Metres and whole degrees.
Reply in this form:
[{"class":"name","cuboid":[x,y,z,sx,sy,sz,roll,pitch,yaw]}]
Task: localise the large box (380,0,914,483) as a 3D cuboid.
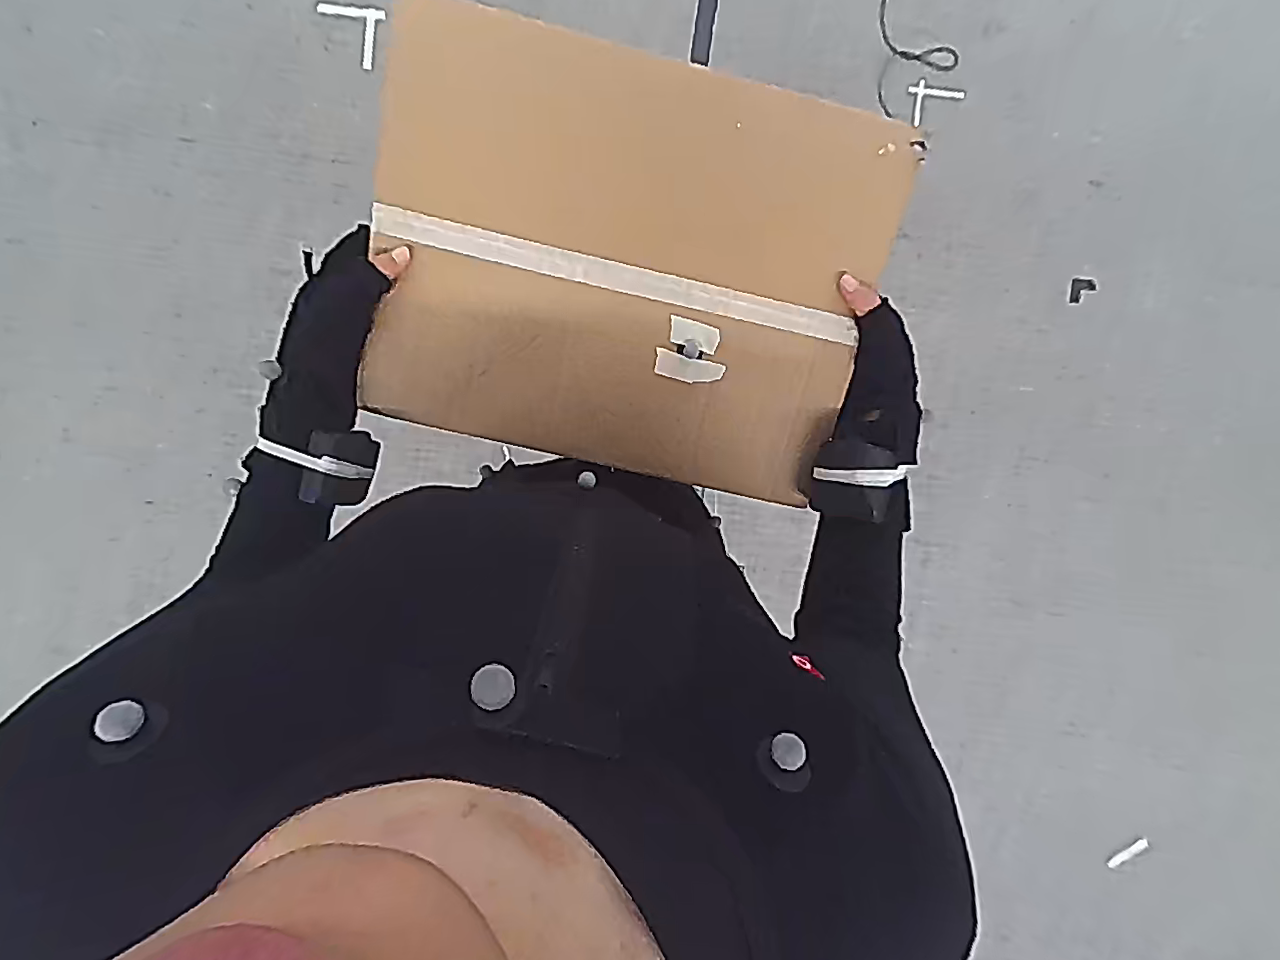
[{"class":"large box","cuboid":[-0.011,-0.216,0.594,0.408,0.320,0.320,12,106,-5]}]
